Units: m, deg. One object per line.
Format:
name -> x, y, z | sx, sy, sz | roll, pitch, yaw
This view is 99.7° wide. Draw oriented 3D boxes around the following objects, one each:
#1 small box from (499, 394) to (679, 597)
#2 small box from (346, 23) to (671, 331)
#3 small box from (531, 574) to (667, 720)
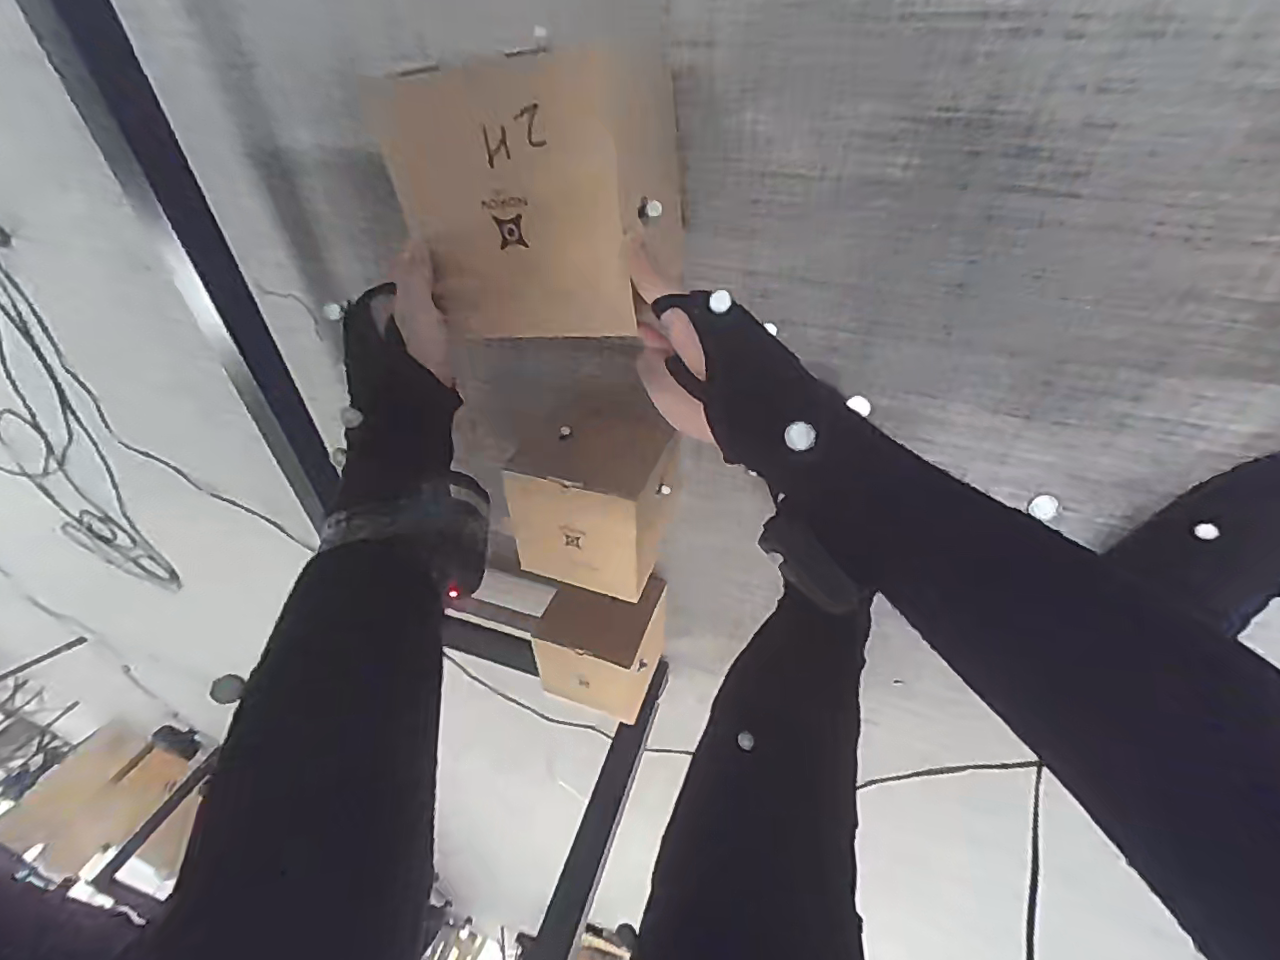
small box -> -0.053, 0.012, 0.688 | 0.168, 0.176, 0.179 | 13, 133, 17
small box -> -0.076, -0.236, 0.428 | 0.168, 0.176, 0.179 | 4, 131, 16
small box -> -0.057, 0.258, 0.901 | 0.168, 0.176, 0.179 | 12, 131, 17
